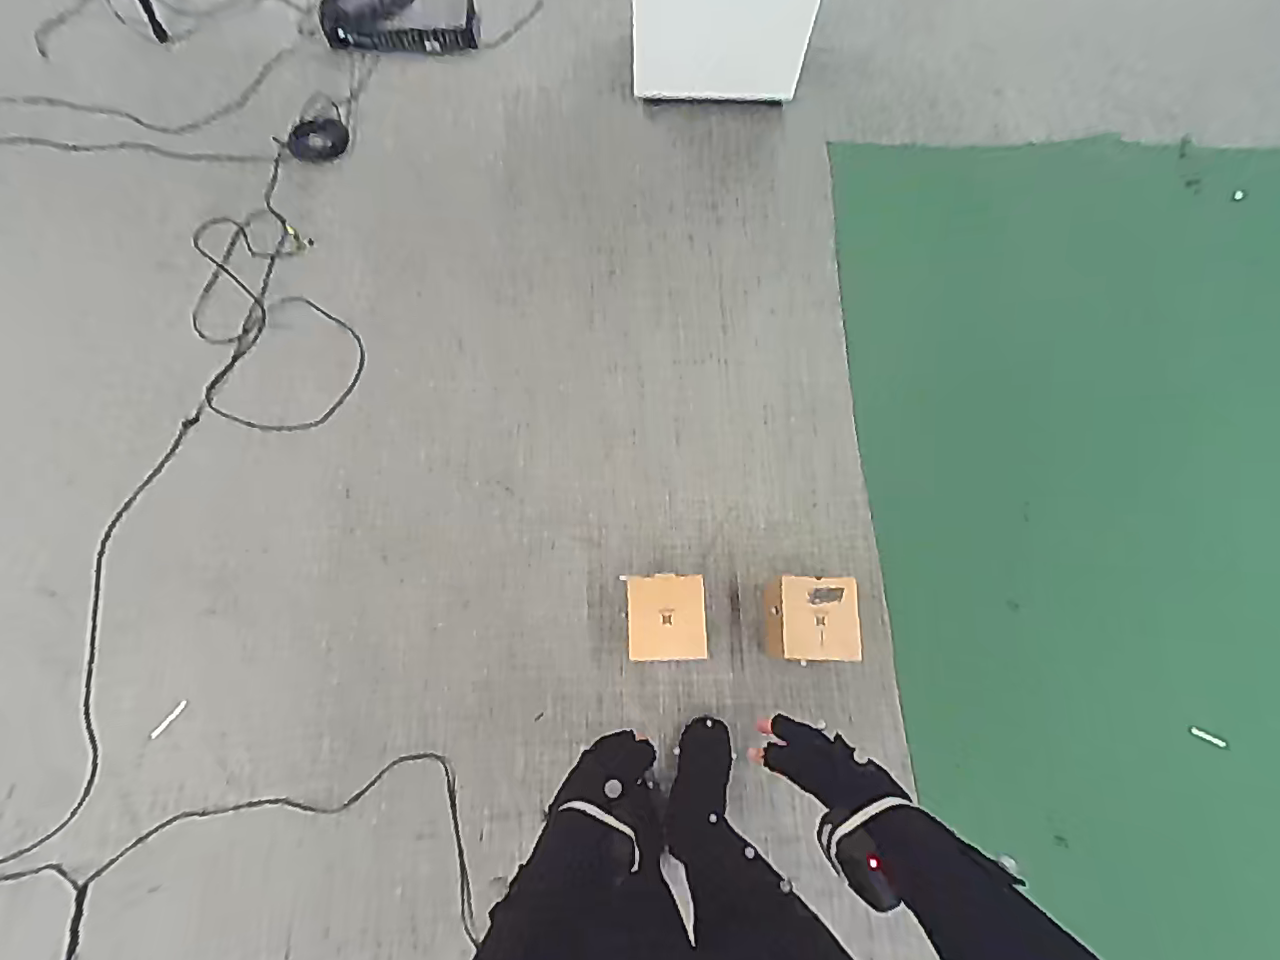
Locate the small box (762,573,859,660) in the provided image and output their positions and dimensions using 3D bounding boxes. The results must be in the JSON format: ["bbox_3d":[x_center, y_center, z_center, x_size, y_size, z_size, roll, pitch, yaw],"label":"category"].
[{"bbox_3d":[0.378,0.313,1.229,0.168,0.176,0.179,2,74,0],"label":"small box"}]

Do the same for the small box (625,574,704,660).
[{"bbox_3d":[0.051,0.312,1.223,0.168,0.176,0.179,-1,72,-2],"label":"small box"}]
